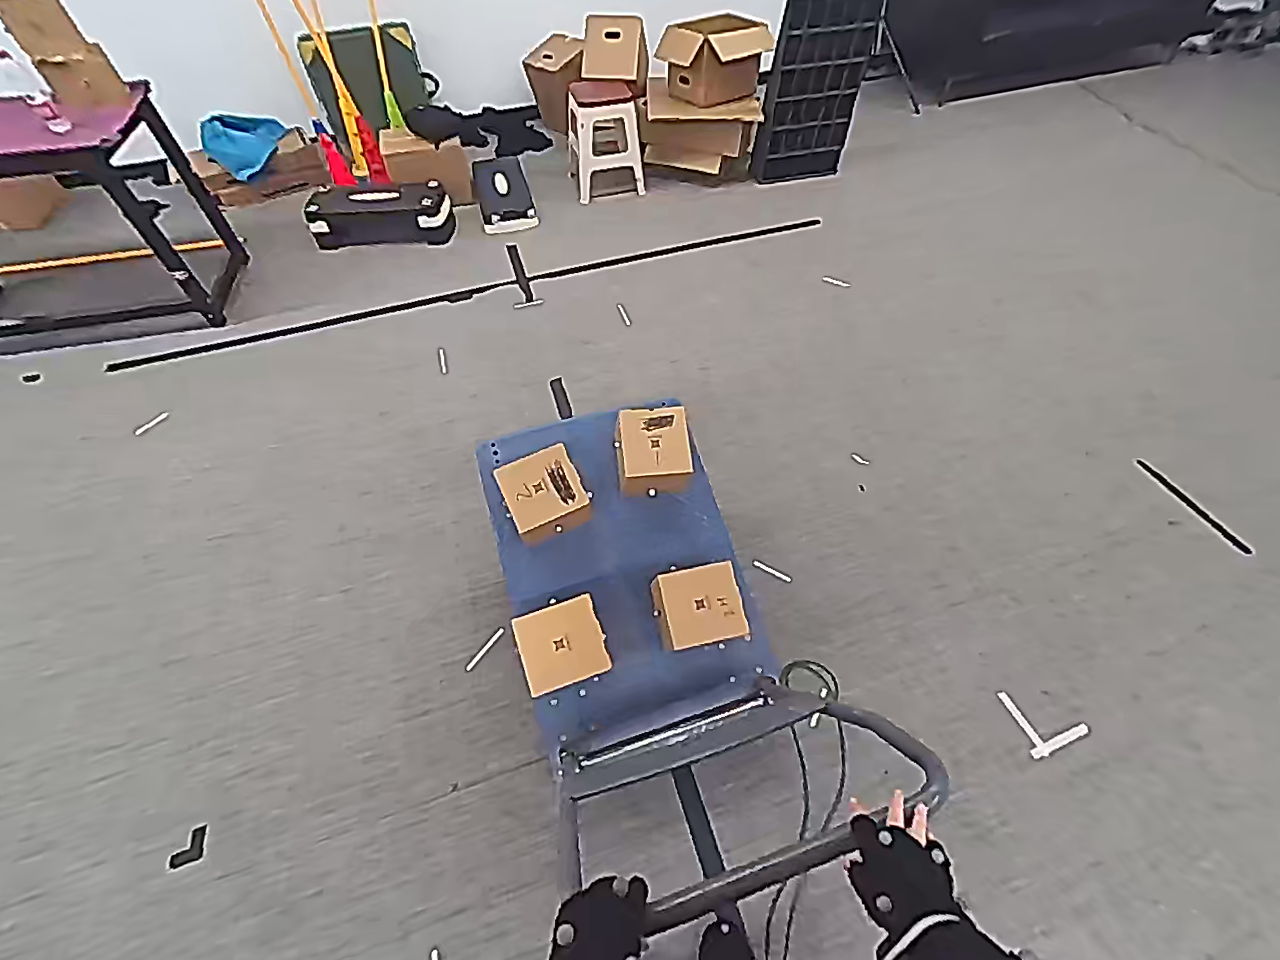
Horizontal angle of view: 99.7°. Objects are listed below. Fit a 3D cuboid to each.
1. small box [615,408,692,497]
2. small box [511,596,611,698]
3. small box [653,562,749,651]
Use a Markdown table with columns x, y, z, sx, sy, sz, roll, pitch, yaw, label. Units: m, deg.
| x | y | z | sx | sy | sz | roll | pitch | yaw | label |
| --- | --- | --- | --- | --- | --- | --- | --- | --- | --- |
| 0.028 | -0.066 | 1.374 | 0.168 | 0.176 | 0.179 | -5 | 73 | -7 | small box |
| -0.173 | 0.373 | 1.208 | 0.179 | 0.176 | 0.168 | -17 | 74 | -12 | small box |
| 0.132 | 0.300 | 1.262 | 0.179 | 0.176 | 0.168 | -10 | 73 | -9 | small box |
